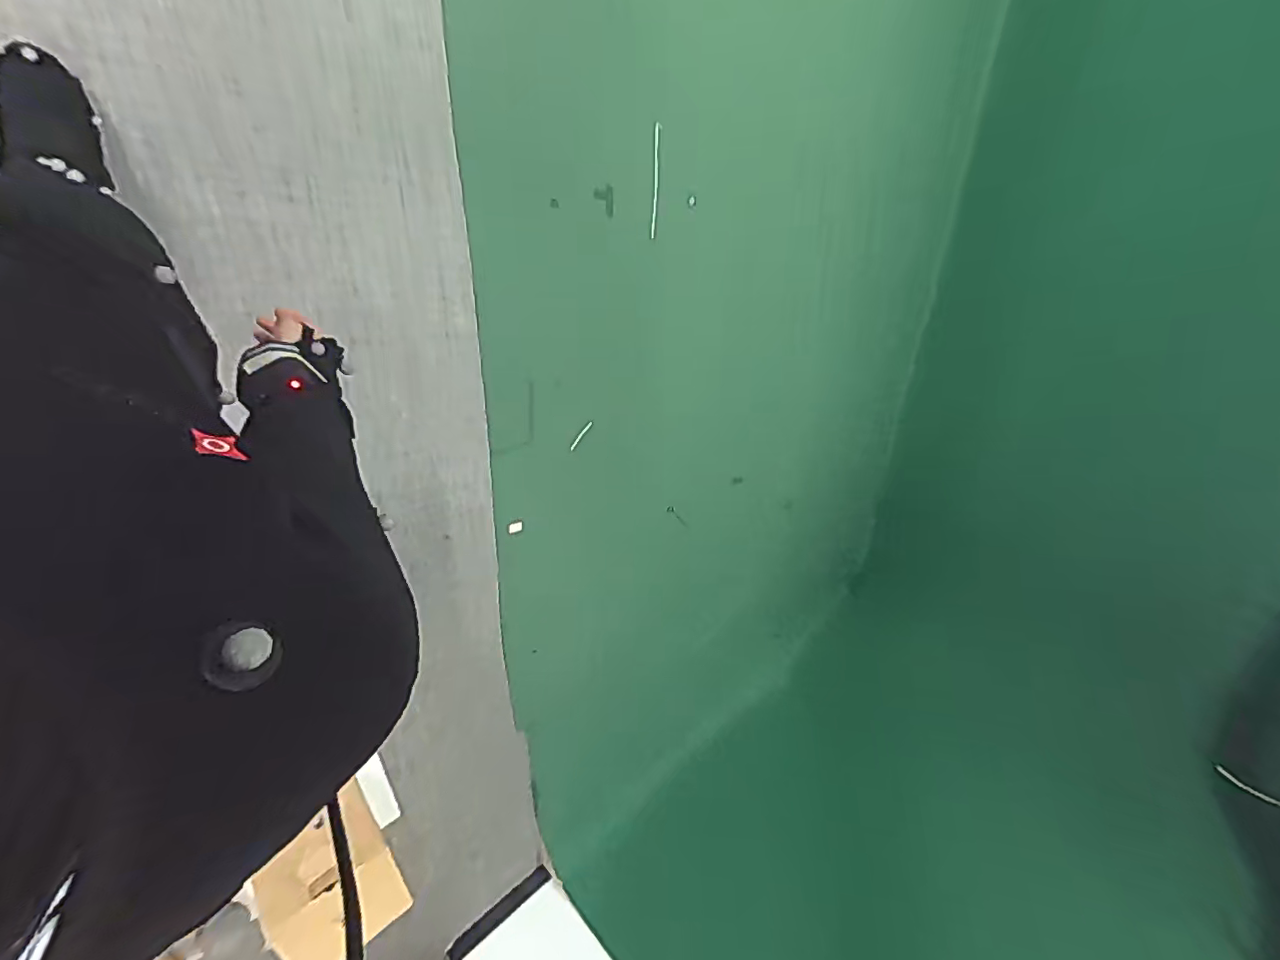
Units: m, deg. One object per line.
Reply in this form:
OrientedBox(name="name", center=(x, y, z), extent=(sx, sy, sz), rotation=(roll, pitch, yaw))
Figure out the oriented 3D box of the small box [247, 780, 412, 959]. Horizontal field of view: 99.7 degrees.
OrientedBox(name="small box", center=(-0.492, 0.630, 0.861), extent=(0.168, 0.176, 0.179), rotation=(-25, 125, -35))
